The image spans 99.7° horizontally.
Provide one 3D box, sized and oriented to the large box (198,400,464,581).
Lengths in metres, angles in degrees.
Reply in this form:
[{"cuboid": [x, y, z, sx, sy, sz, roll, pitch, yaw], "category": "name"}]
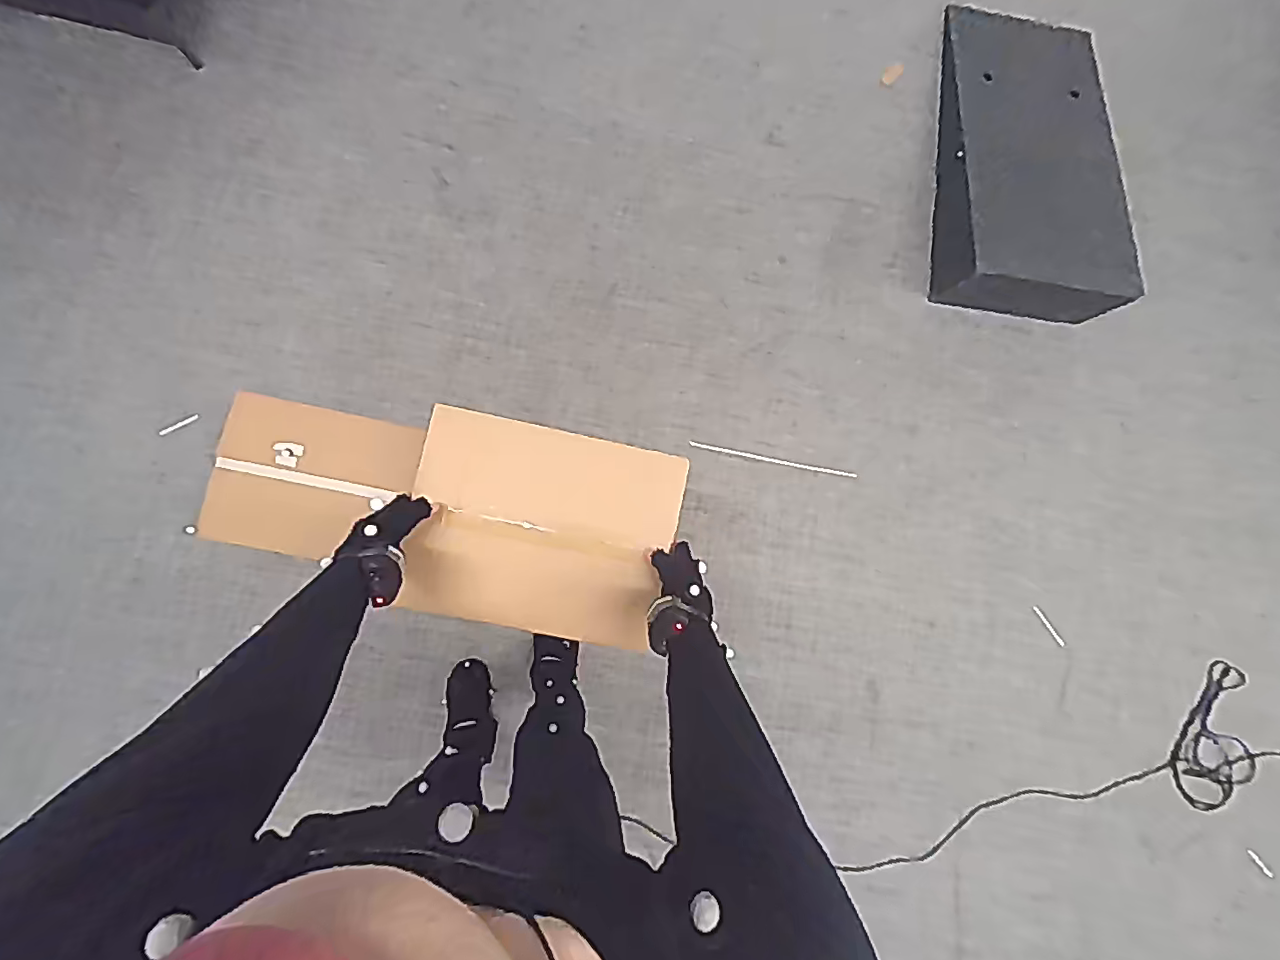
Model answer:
[{"cuboid": [-0.671, 0.035, 1.253, 0.408, 0.320, 0.320, 12, 82, -2], "category": "large box"}]
